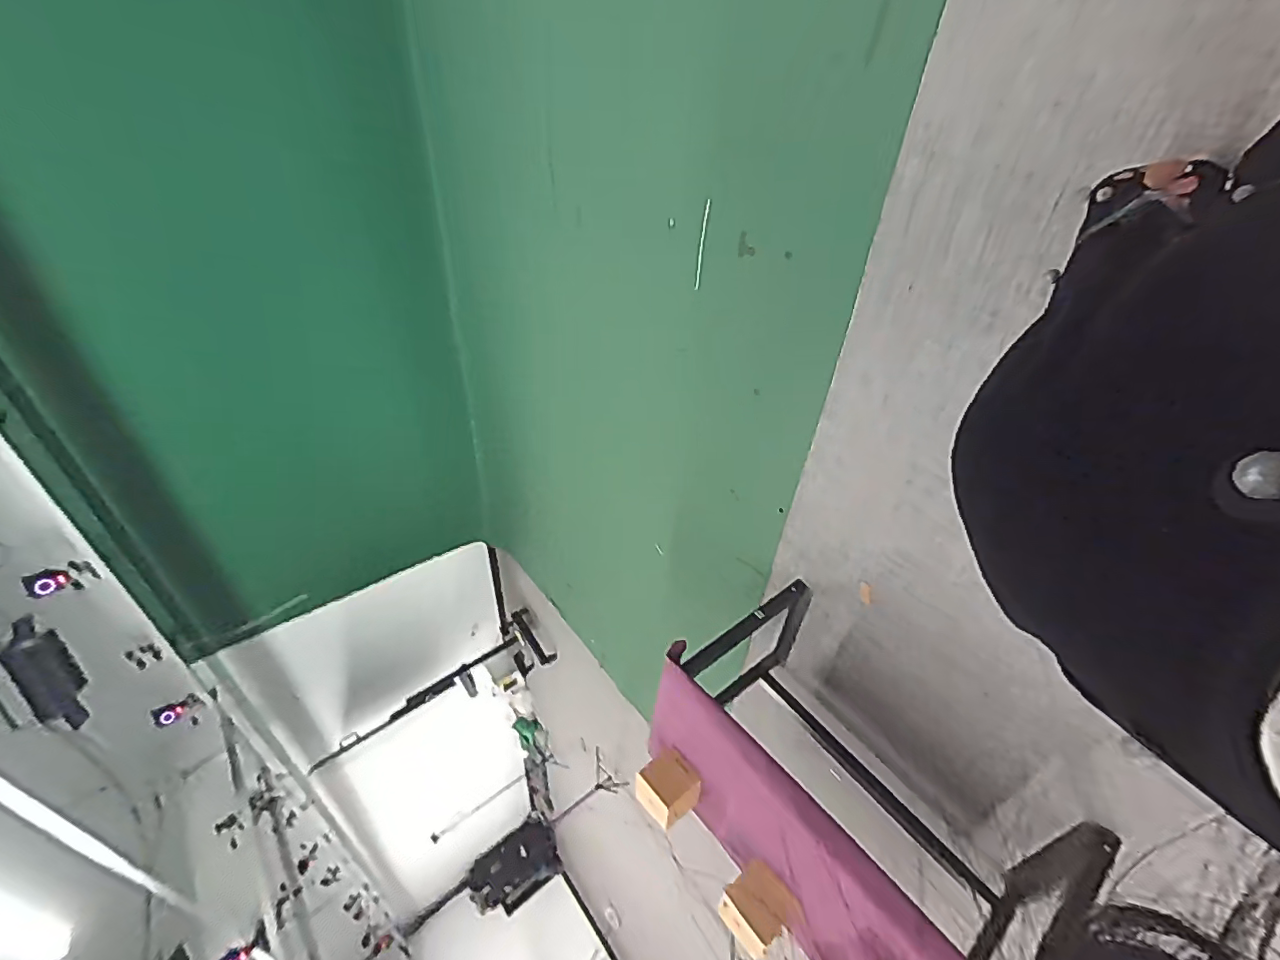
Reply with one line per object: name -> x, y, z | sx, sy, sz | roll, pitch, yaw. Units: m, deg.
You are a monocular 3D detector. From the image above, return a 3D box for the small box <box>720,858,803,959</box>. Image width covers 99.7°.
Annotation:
small box -> 0.383, 1.352, 1.706 | 0.179, 0.176, 0.168 | 39, 137, 35

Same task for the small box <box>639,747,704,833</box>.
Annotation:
small box -> 0.112, 1.111, 1.944 | 0.168, 0.176, 0.179 | 34, 135, 38
